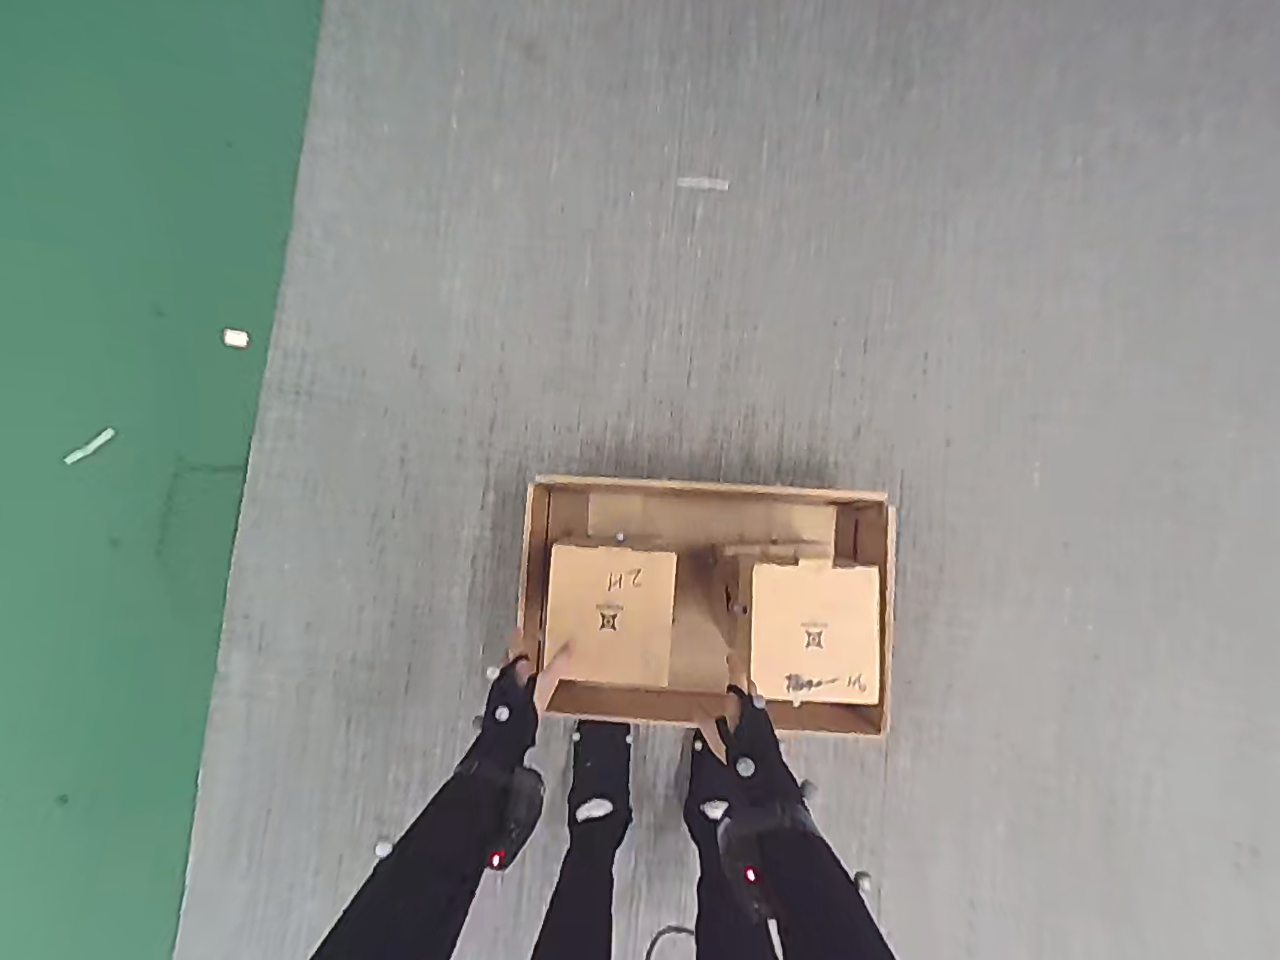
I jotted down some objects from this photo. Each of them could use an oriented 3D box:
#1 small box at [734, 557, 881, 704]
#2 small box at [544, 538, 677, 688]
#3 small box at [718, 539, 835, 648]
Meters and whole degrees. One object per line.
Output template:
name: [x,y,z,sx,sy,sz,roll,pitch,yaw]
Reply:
small box: [0.229,0.203,0.777,0.168,0.176,0.179,2,85,2]
small box: [-0.036,0.182,0.786,0.168,0.176,0.179,4,87,1]
small box: [0.229,0.191,0.941,0.179,0.176,0.168,-2,87,1]
